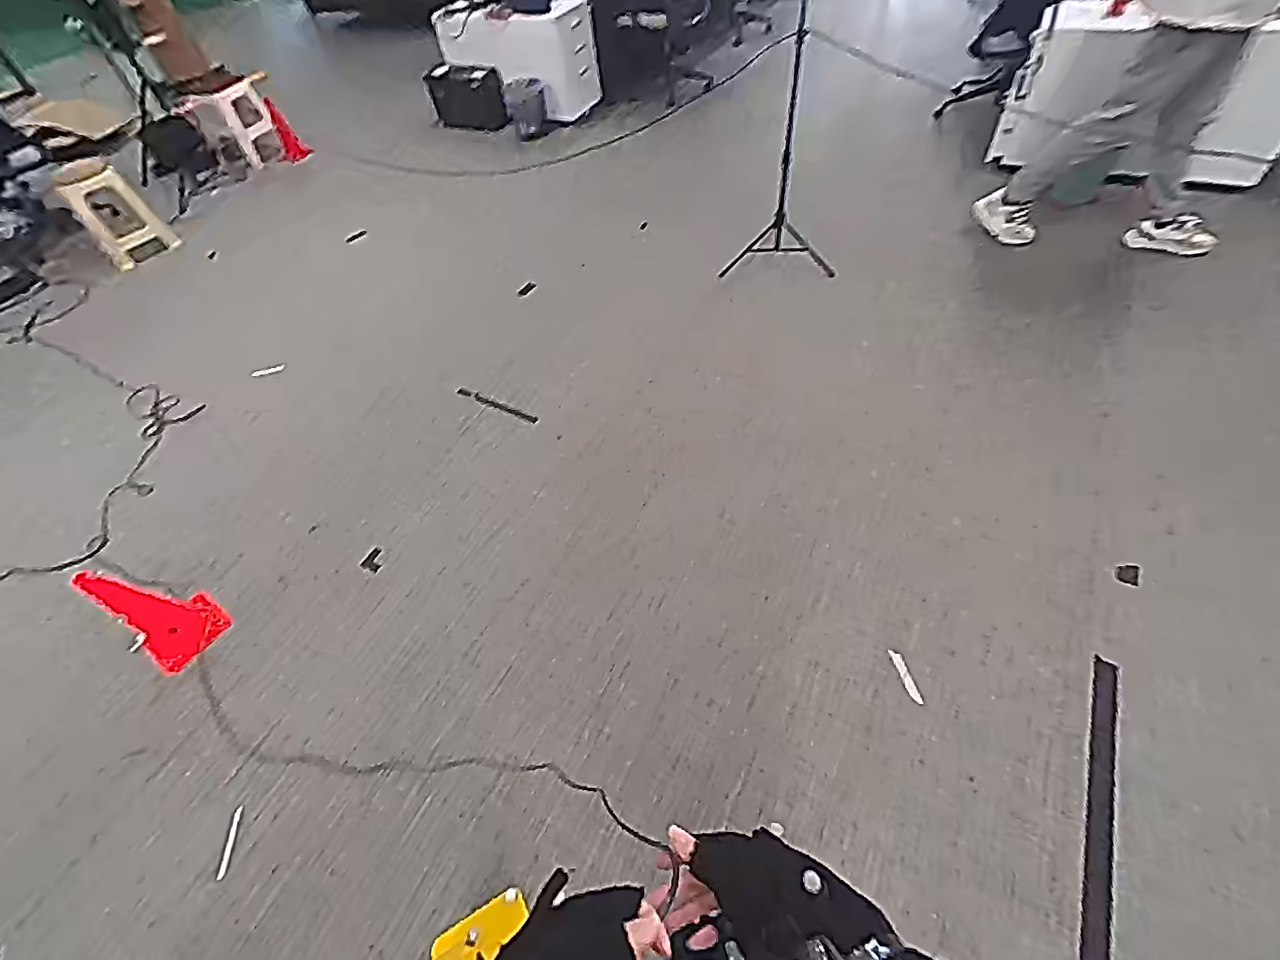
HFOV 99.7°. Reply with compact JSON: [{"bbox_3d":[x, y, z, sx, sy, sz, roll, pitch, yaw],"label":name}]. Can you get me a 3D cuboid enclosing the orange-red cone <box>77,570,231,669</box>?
[{"bbox_3d":[-1.373,0.344,1.492,0.199,0.360,0.198,28,61,24],"label":"orange-red cone"}]
